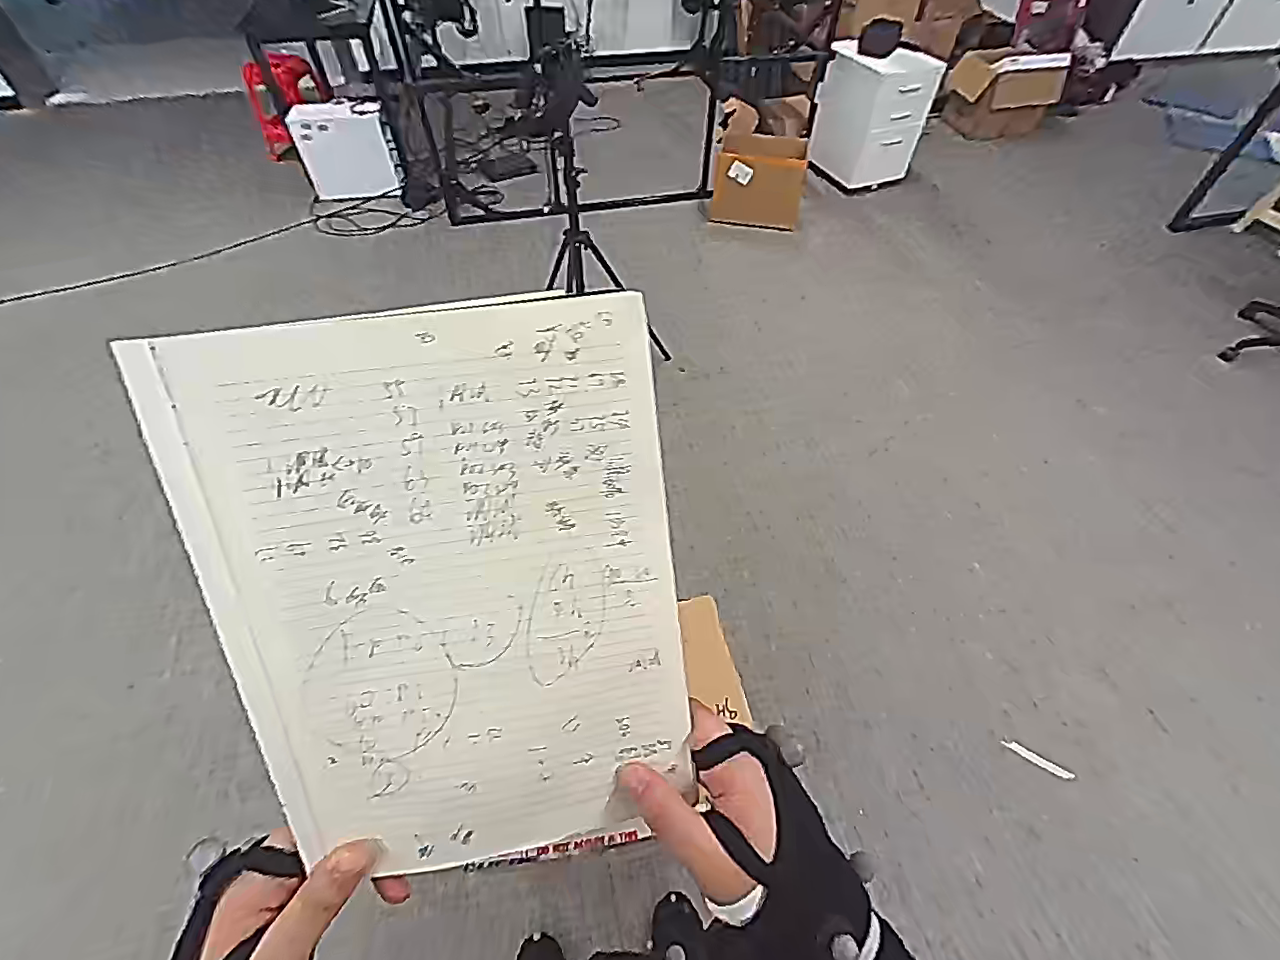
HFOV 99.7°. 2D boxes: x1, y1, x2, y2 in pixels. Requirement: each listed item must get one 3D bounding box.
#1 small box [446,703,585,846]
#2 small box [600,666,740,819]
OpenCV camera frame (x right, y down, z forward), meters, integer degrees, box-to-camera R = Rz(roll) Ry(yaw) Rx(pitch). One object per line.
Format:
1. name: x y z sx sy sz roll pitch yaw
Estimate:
1. small box: -0.176 0.451 0.825 0.179 0.176 0.168 -5 54 -2
2. small box: 0.036 0.417 0.855 0.179 0.176 0.168 -10 54 -10
